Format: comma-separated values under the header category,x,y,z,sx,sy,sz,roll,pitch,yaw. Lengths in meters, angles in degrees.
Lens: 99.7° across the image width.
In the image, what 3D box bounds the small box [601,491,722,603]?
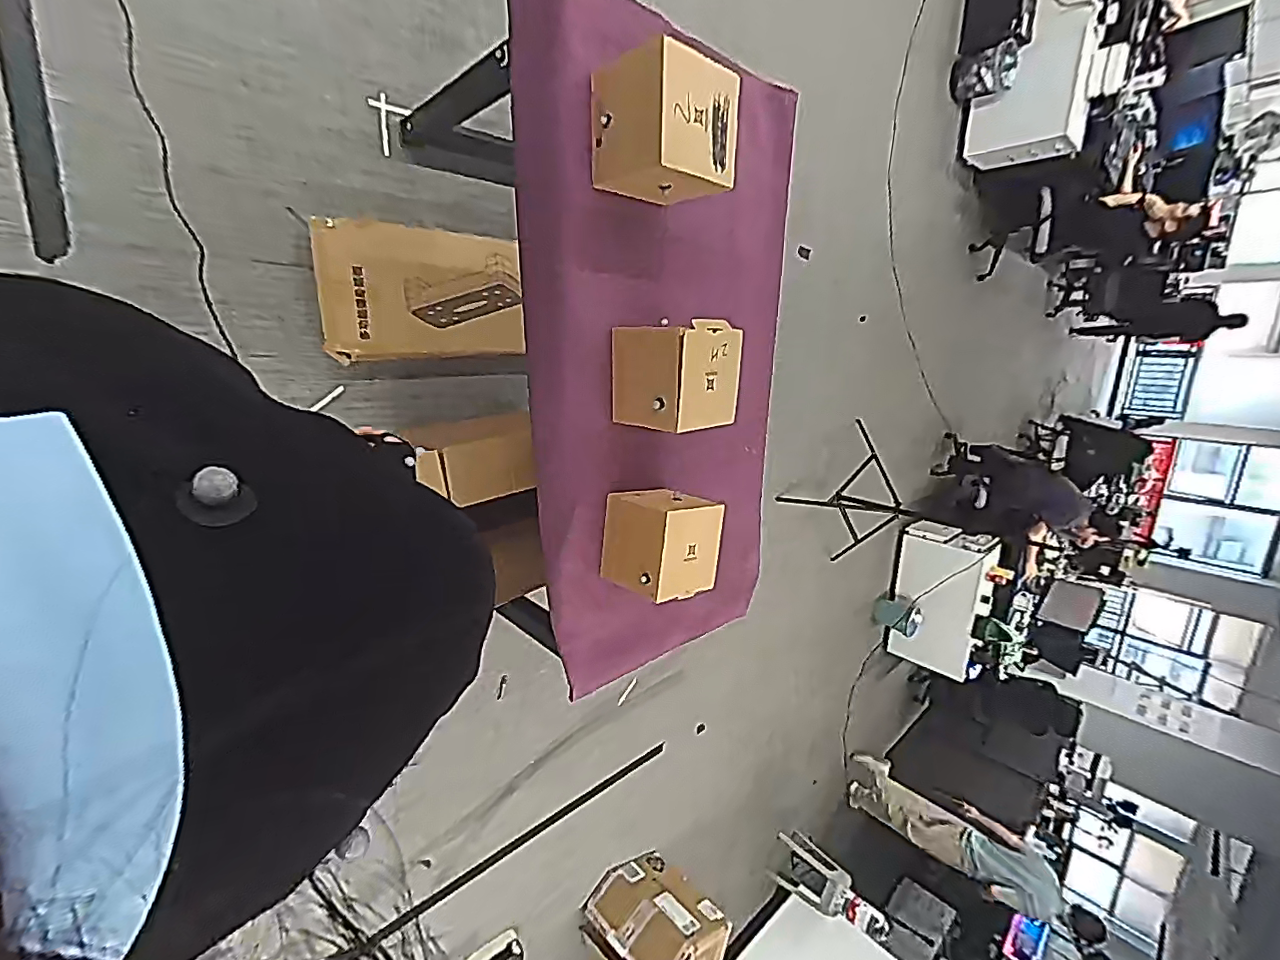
category,x,y,z,sx,sy,sz,roll,pitch,yaw
small box,0.039,0.121,1.072,0.168,0.176,0.179,-4,104,-44

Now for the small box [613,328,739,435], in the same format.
category,x,y,z,sx,sy,sz,roll,pitch,yaw
small box,0.062,-0.190,1.006,0.168,0.176,0.179,-14,111,-44
